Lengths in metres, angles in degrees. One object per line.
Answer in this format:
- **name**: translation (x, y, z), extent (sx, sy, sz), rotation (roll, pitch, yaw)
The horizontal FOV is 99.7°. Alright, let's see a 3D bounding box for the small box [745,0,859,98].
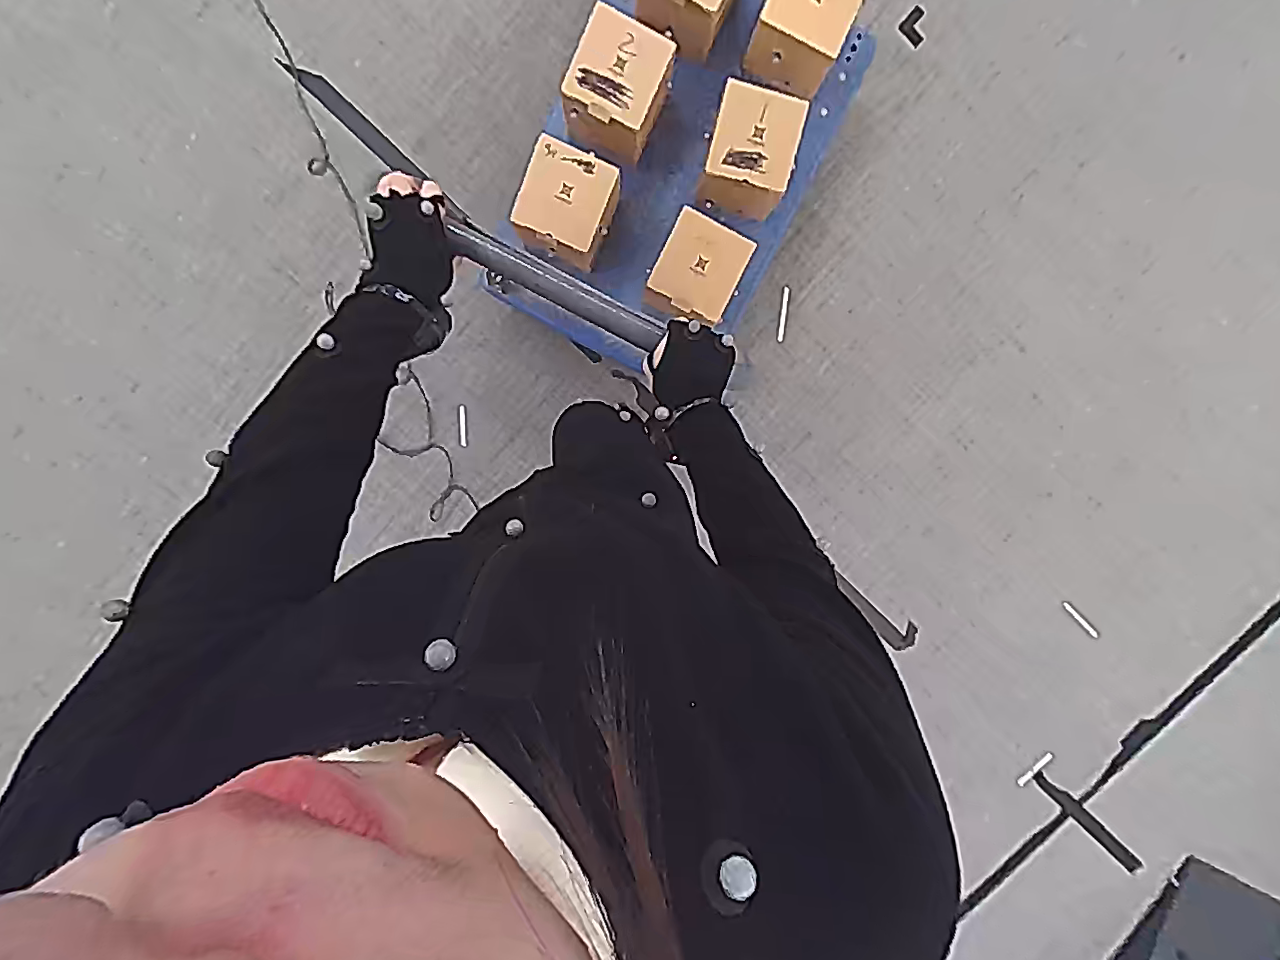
- **small box**: translation (0.328, -0.929, 1.094), extent (0.168, 0.176, 0.179), rotation (24, 97, -6)

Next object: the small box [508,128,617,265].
- **small box**: translation (-0.154, -0.576, 1.128), extent (0.168, 0.176, 0.179), rotation (23, 98, -7)

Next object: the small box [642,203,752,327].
- **small box**: translation (0.113, -0.448, 1.162), extent (0.168, 0.176, 0.179), rotation (27, 96, -7)

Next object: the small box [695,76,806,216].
- **small box**: translation (0.220, -0.681, 1.128), extent (0.168, 0.176, 0.179), rotation (14, 97, -4)

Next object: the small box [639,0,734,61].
- **small box**: translation (0.105, -0.999, 1.070), extent (0.168, 0.176, 0.179), rotation (28, 98, -6)
